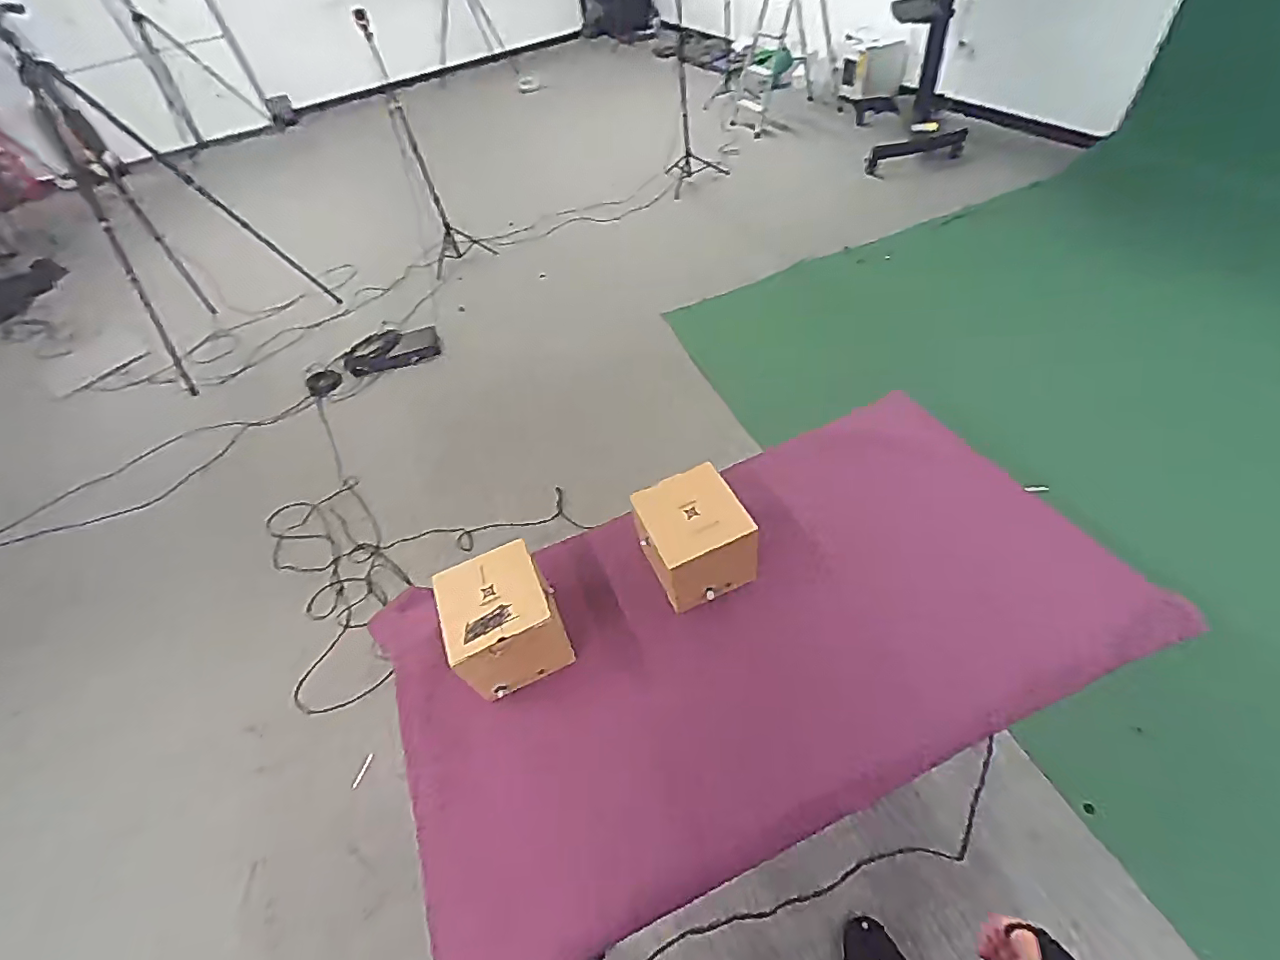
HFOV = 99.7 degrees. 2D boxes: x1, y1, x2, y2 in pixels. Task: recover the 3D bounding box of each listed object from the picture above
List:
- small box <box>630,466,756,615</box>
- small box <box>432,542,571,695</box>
[{"bbox_3d":[0.095,0.112,0.986,0.168,0.176,0.179,-23,50,-8],"label":"small box"},{"bbox_3d":[-0.232,0.245,0.929,0.168,0.176,0.179,-23,48,-10],"label":"small box"}]
